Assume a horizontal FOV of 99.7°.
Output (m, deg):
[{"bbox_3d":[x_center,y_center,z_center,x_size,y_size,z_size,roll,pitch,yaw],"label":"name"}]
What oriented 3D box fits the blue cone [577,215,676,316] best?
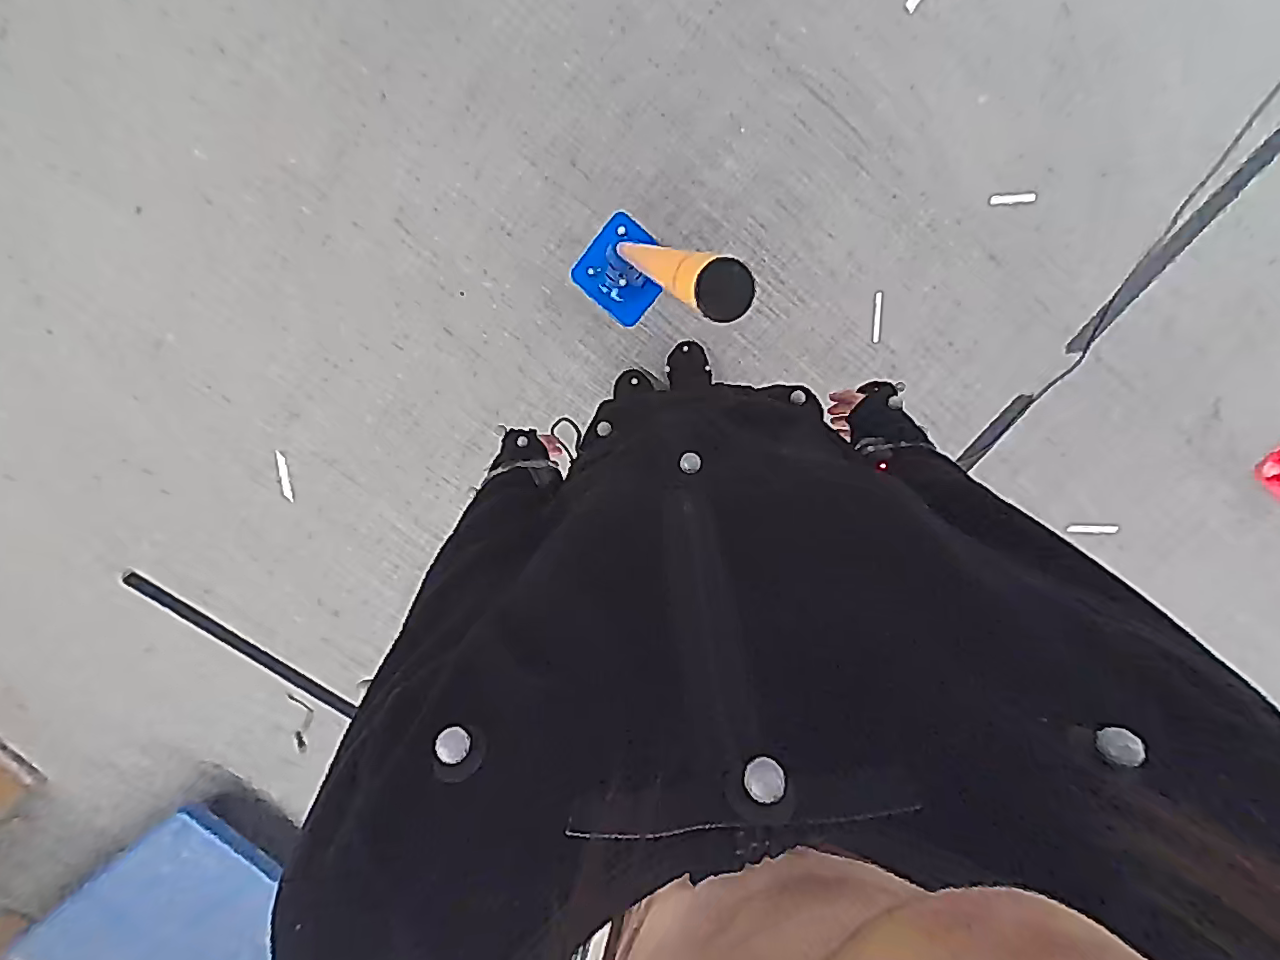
[{"bbox_3d":[-0.031,-0.473,1.144,0.193,0.380,0.192,40,100,-10],"label":"blue cone"}]
